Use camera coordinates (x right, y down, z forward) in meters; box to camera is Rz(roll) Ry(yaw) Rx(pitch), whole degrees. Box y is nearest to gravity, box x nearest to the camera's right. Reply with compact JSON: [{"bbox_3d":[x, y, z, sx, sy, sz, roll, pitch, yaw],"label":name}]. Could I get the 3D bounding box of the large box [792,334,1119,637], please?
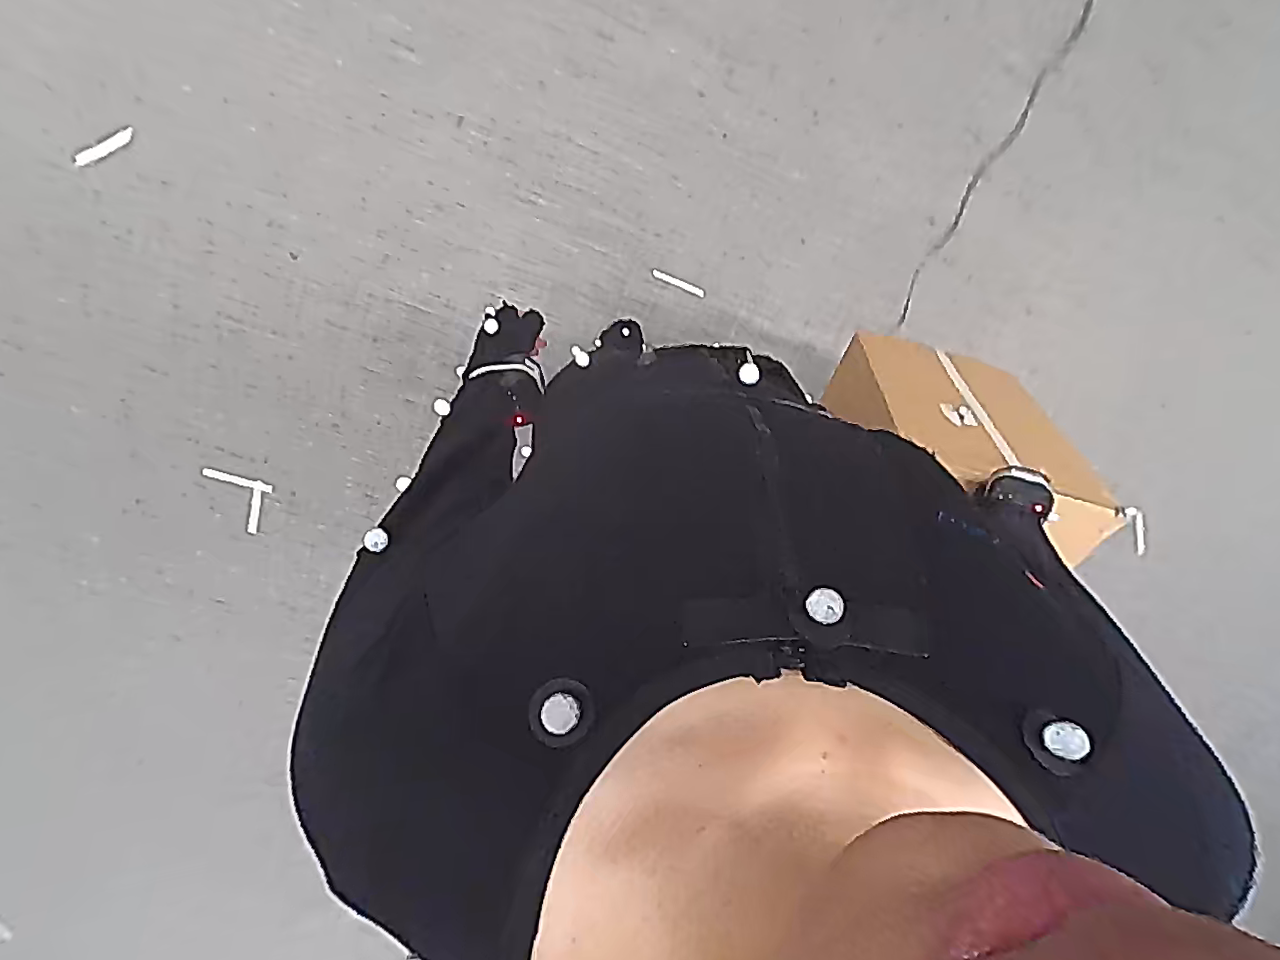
[{"bbox_3d":[0.492,-0.002,0.968,0.320,0.408,0.320,15,130,-2],"label":"large box"}]
